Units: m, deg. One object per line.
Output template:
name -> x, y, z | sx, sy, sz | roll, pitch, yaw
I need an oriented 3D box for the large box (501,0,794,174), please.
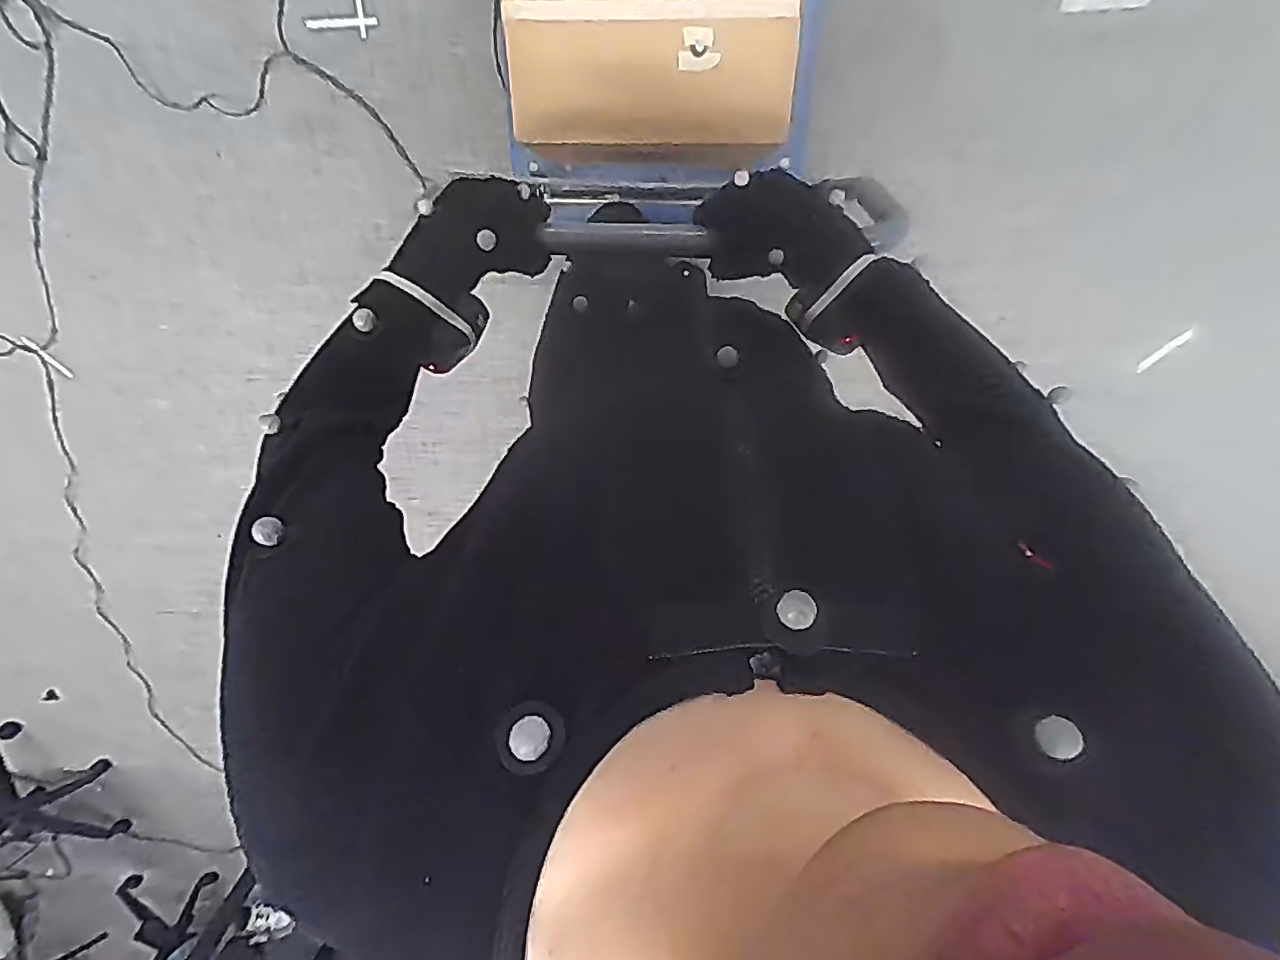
large box -> 0.009, -0.689, 0.870 | 0.408, 0.320, 0.320 | 0, 115, 0
